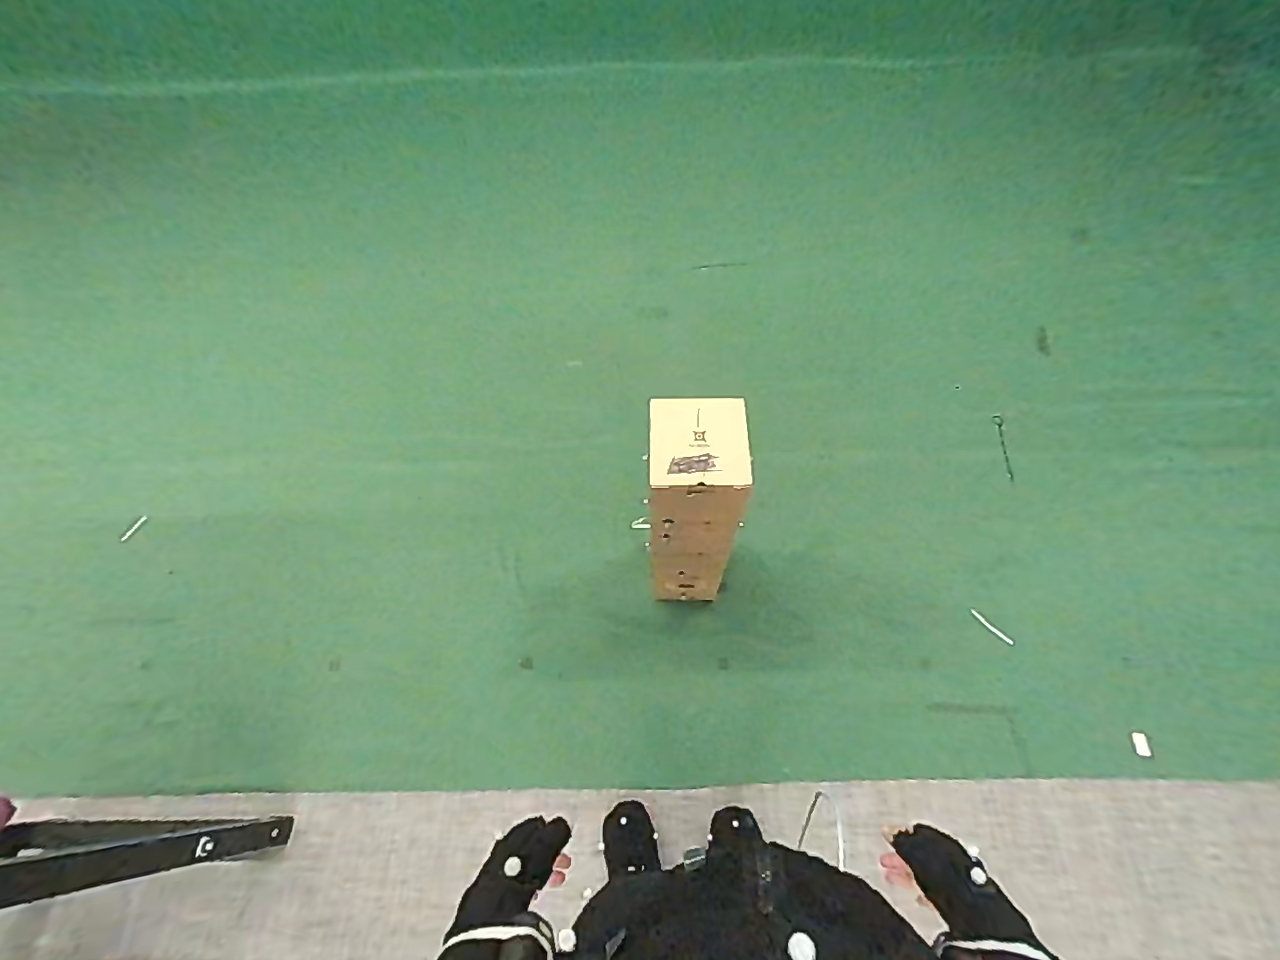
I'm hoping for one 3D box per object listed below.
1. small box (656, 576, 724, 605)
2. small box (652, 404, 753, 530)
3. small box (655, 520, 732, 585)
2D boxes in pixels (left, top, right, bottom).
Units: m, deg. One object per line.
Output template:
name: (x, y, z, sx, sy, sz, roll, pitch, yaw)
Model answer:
small box: (0.126, 0.213, 1.406, 0.168, 0.176, 0.179, 0, 62, 3)
small box: (0.106, -0.017, 0.973, 0.168, 0.176, 0.179, 0, 61, 2)
small box: (0.118, 0.136, 1.264, 0.168, 0.176, 0.179, -1, 62, 2)
